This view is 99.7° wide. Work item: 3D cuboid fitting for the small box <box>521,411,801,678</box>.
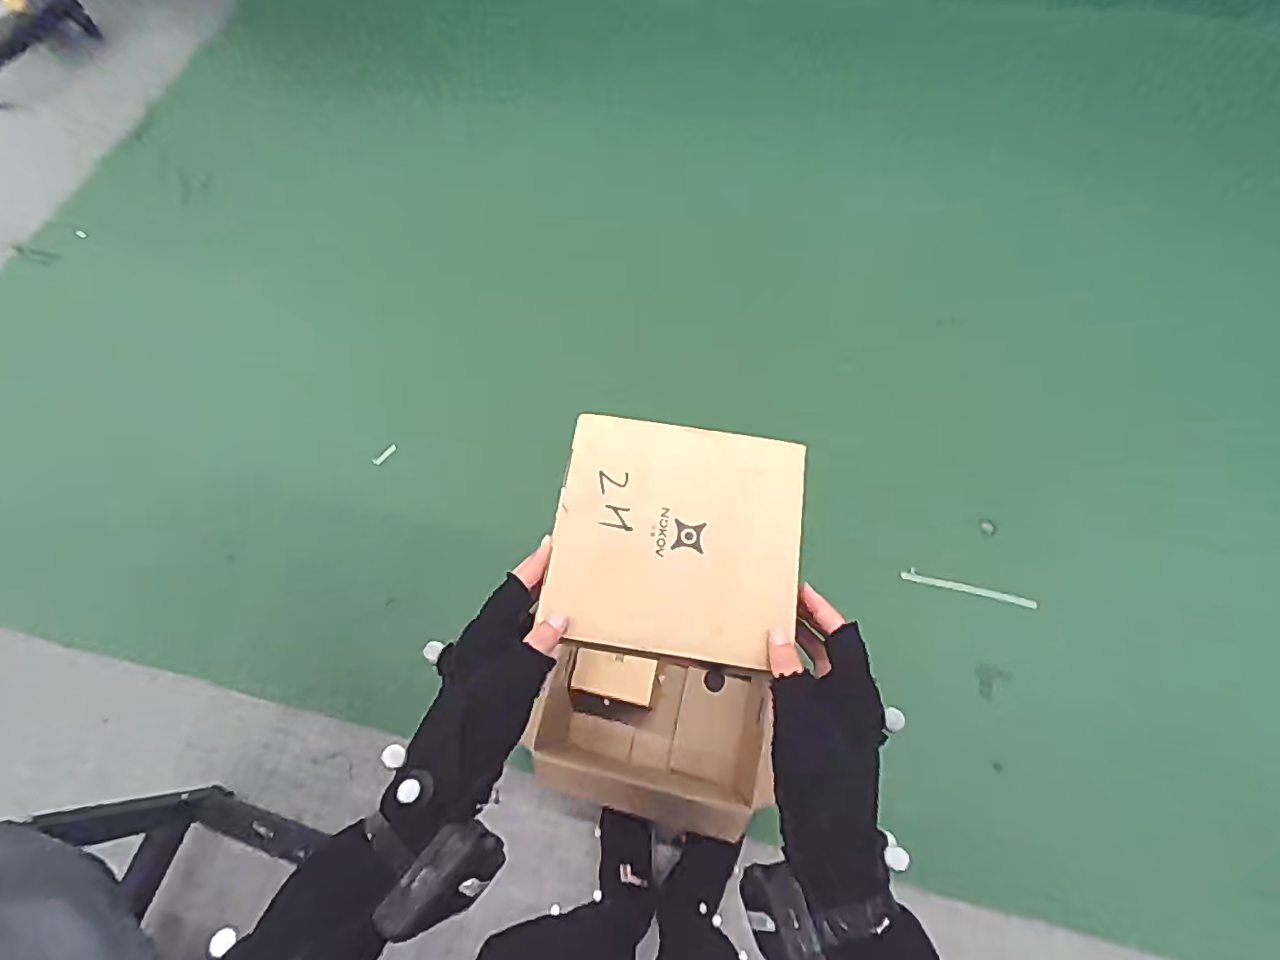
[{"bbox_3d":[0.020,0.062,0.449,0.179,0.176,0.168,8,71,3],"label":"small box"}]
